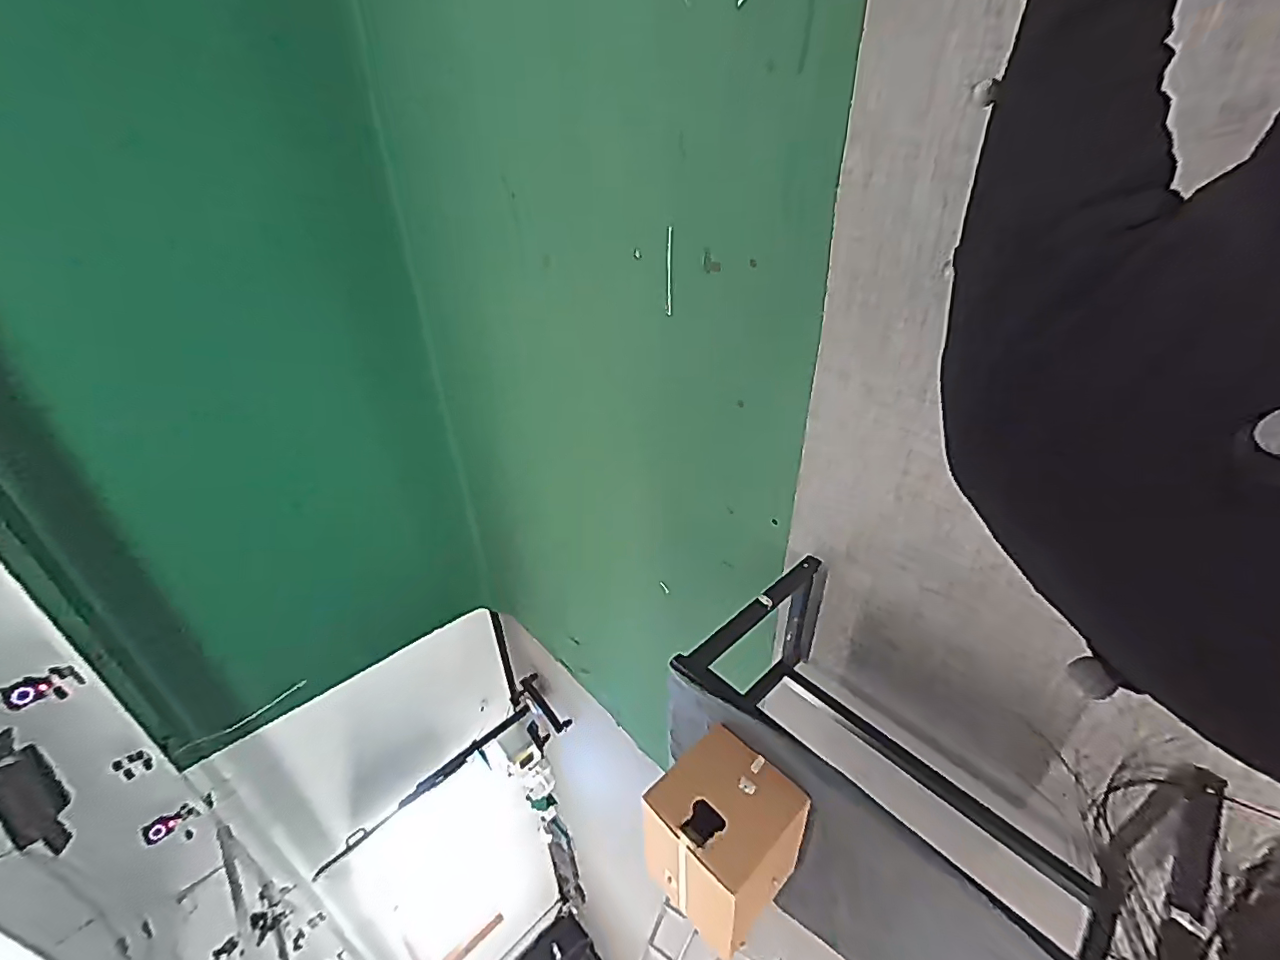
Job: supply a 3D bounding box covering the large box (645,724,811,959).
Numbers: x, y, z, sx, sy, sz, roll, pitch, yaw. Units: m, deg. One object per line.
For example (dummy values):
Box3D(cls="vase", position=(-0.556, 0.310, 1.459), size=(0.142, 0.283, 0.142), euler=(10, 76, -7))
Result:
Box3D(cls="large box", position=(0.236, 0.969, 1.472), size=(0.320, 0.320, 0.408), euler=(28, 134, 40))
